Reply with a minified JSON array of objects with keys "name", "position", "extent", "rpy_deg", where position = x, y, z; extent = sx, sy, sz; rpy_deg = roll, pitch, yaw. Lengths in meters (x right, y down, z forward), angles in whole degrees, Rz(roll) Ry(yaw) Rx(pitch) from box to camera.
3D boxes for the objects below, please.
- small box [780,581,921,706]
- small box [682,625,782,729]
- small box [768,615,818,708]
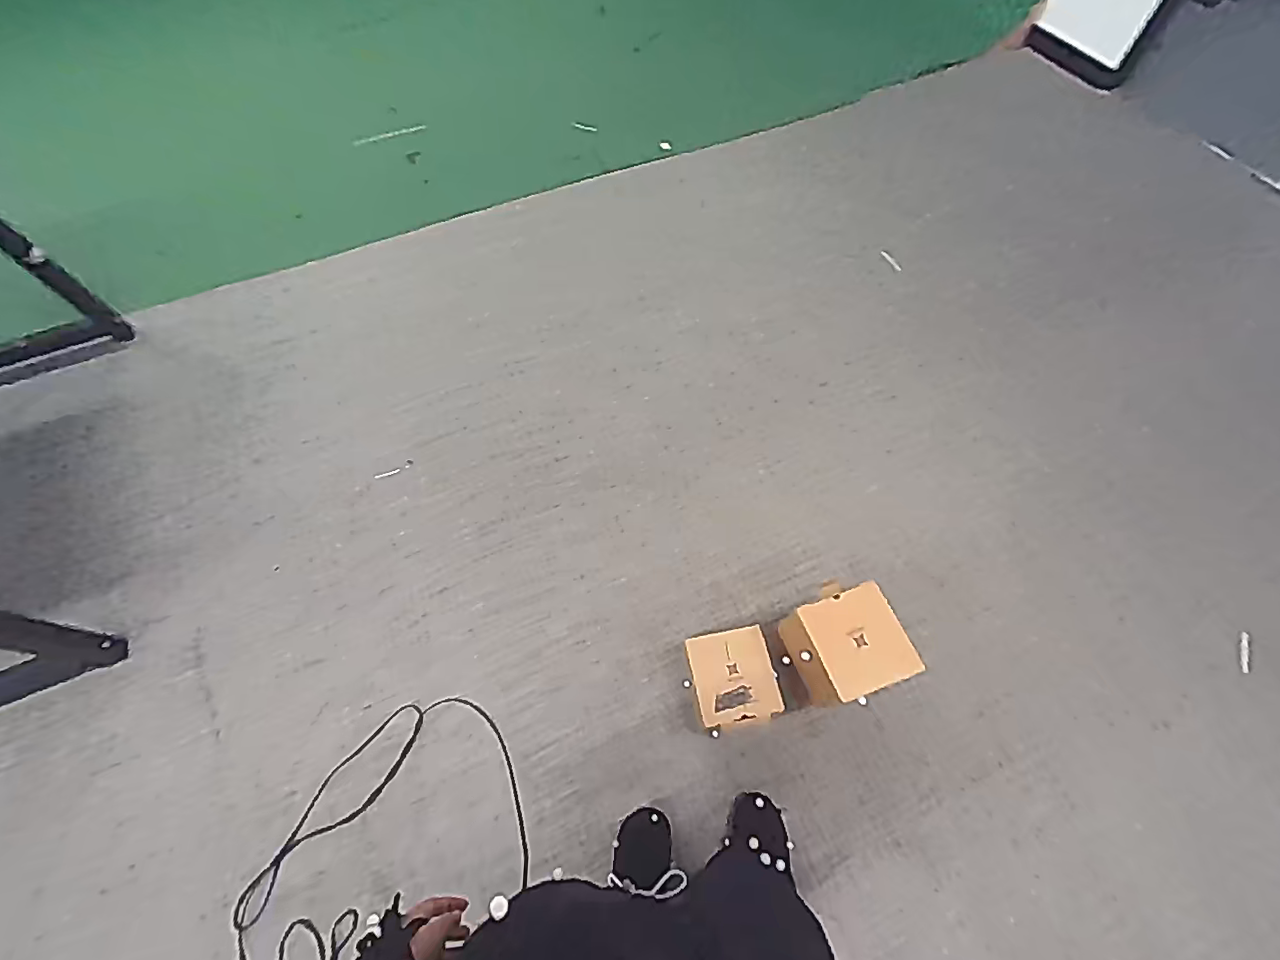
[{"name":"small box","position":[0.391,0.320,1.036],"extent":[0.168,0.176,0.179],"rpy_deg":[-18,63,-8]},{"name":"small box","position":[0.189,0.431,1.168],"extent":[0.168,0.176,0.179],"rpy_deg":[-10,61,-4]},{"name":"small box","position":[0.401,0.381,1.188],"extent":[0.168,0.176,0.179],"rpy_deg":[-18,62,-8]}]
